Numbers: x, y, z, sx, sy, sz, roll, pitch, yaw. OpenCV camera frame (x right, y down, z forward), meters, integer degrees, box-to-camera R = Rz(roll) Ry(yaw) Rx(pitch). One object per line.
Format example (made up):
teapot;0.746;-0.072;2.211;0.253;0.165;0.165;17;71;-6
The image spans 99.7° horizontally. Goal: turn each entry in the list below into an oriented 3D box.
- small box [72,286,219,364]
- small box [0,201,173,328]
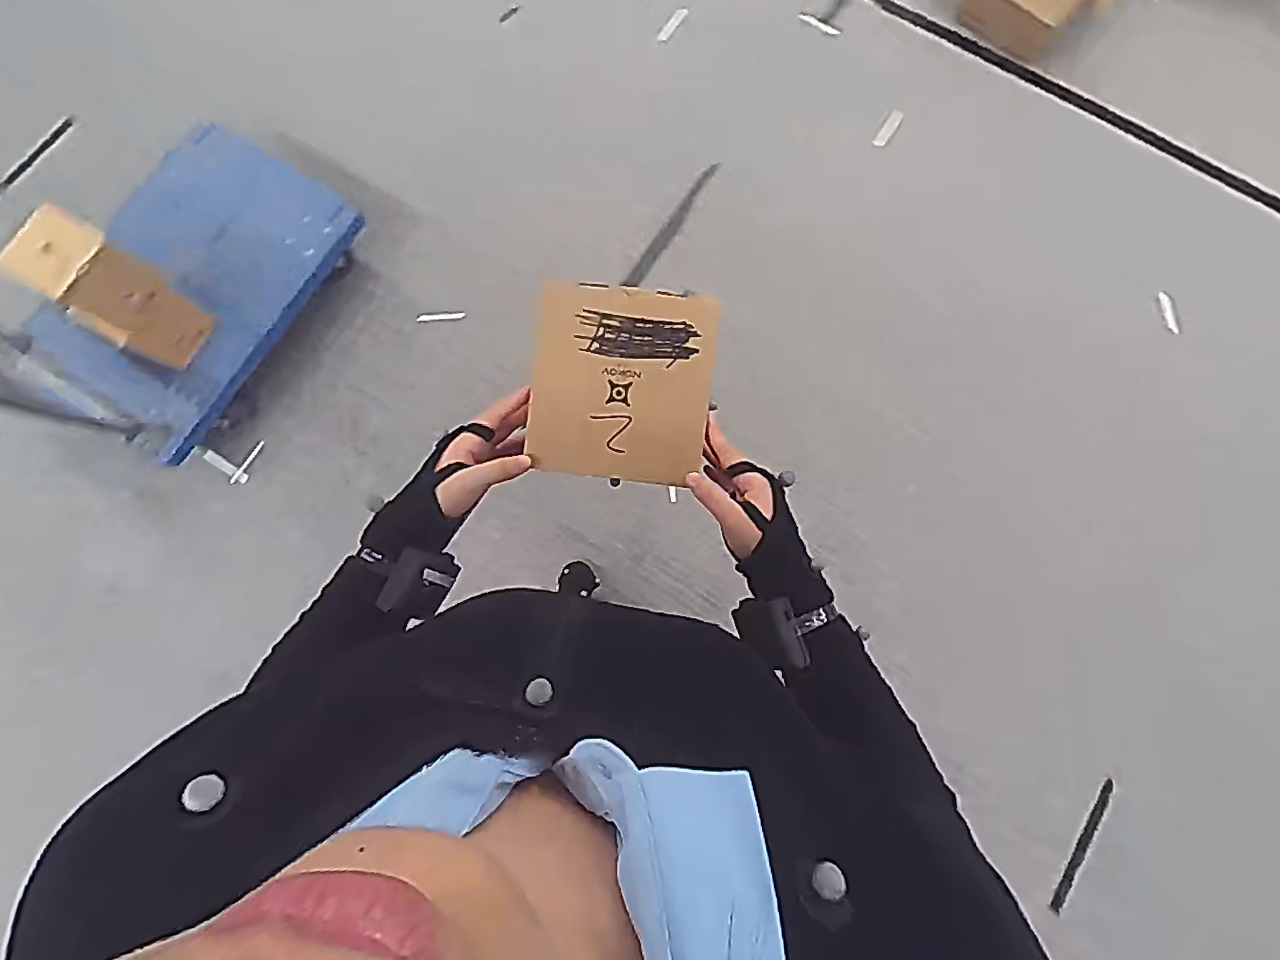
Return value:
small box;-1.233;-0.419;1.362;0.179;0.176;0.168;28;81;4
small box;-1.220;-0.470;1.204;0.179;0.176;0.168;29;81;5
